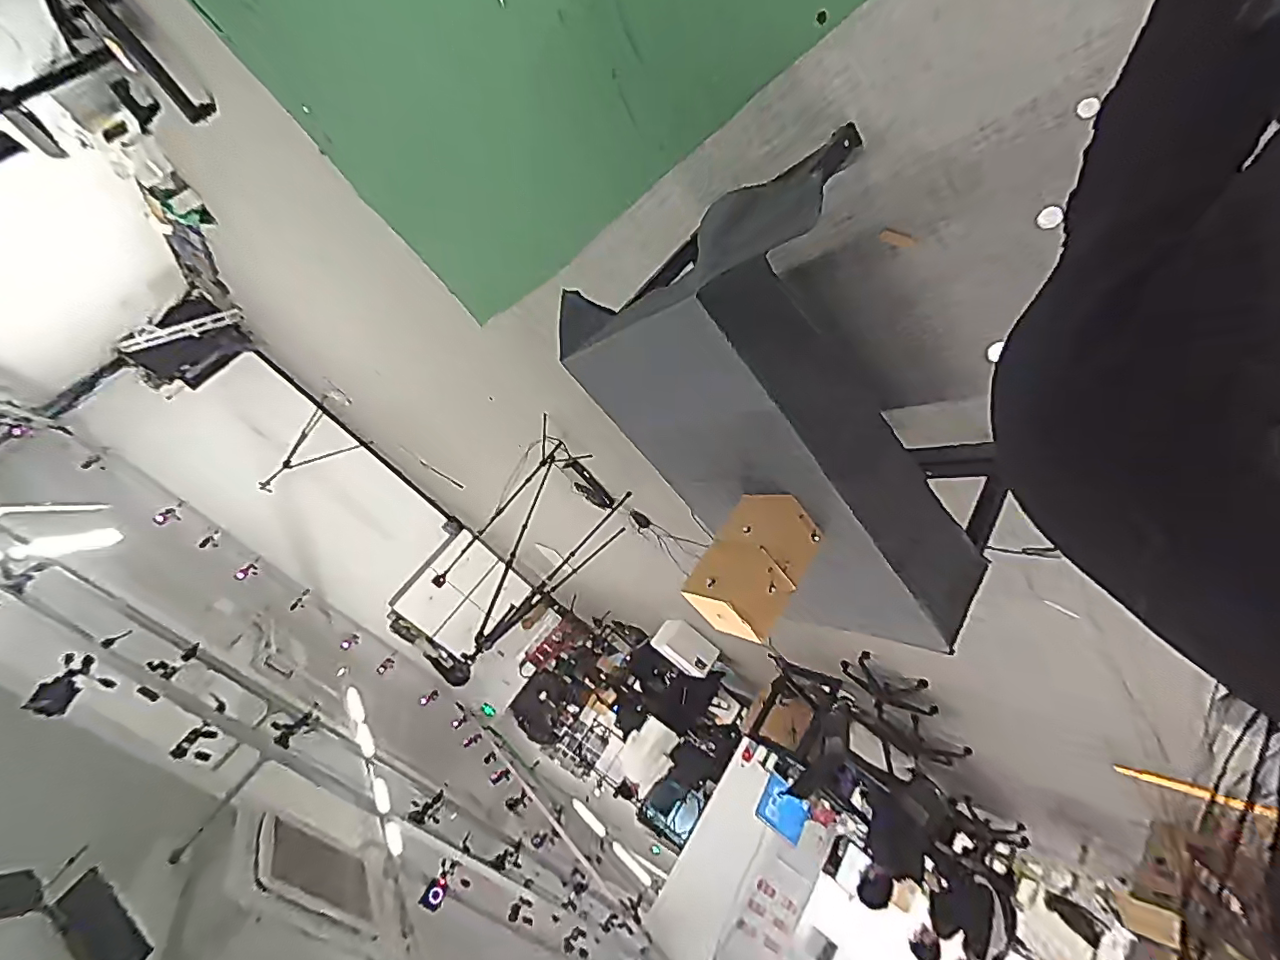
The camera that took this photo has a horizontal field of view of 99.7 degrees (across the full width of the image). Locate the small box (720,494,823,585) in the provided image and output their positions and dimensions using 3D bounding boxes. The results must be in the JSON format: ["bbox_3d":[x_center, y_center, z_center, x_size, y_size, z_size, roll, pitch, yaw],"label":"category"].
[{"bbox_3d":[0.350,0.149,1.406,0.168,0.176,0.179,48,156,-21],"label":"small box"}]

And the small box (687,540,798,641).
[{"bbox_3d":[0.256,0.266,1.343,0.168,0.176,0.179,48,155,-22],"label":"small box"}]
